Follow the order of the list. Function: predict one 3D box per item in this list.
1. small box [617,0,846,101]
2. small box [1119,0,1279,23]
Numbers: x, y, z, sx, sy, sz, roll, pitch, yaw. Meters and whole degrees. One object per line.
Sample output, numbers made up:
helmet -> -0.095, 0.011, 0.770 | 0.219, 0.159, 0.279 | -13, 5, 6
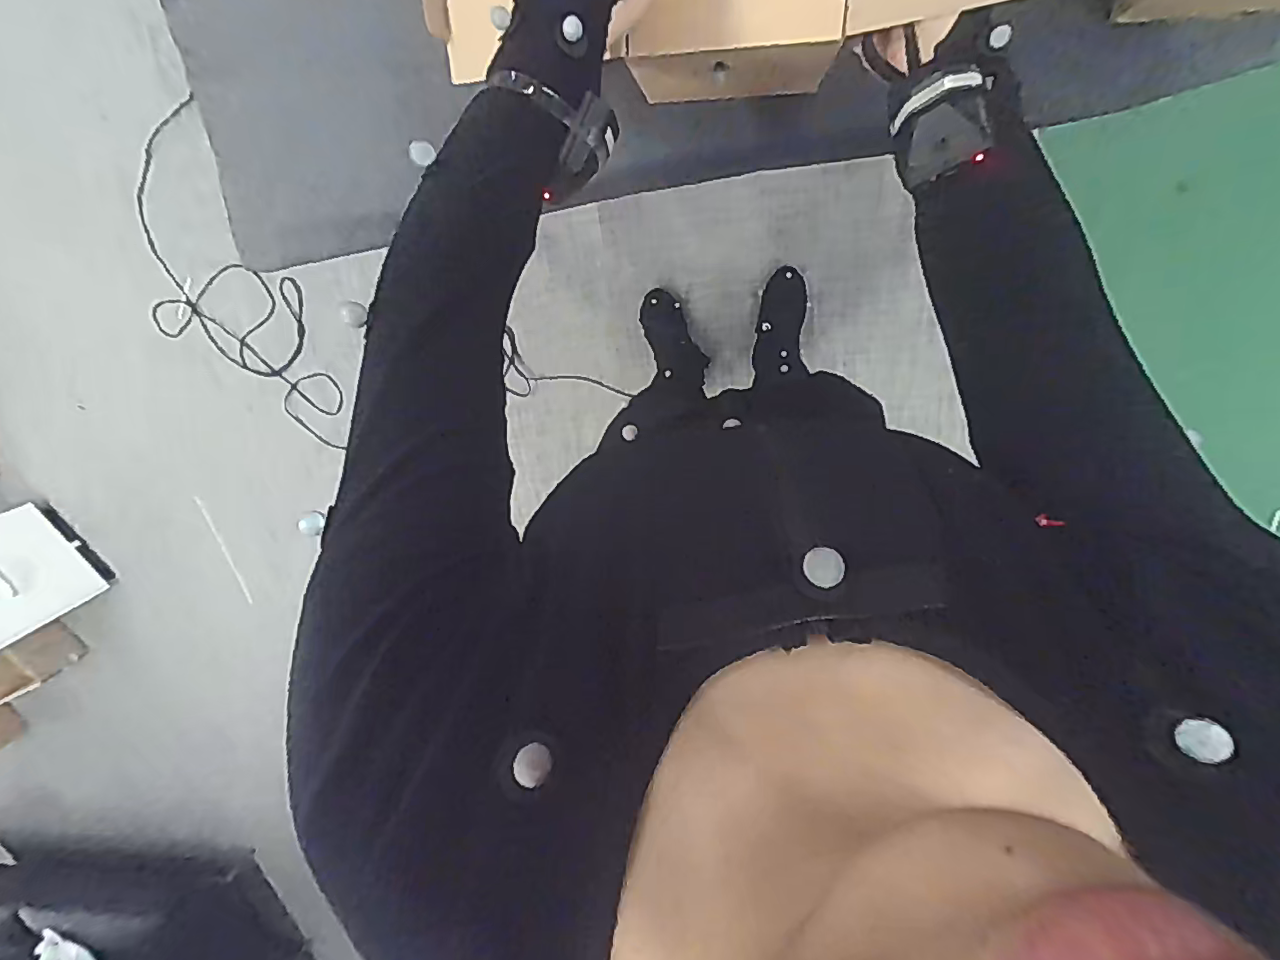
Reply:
small box -> 0.080, -0.441, 0.463 | 0.179, 0.176, 0.168 | 2, 115, 8
small box -> 0.496, -0.457, 0.377 | 0.179, 0.176, 0.168 | 2, 111, 10
